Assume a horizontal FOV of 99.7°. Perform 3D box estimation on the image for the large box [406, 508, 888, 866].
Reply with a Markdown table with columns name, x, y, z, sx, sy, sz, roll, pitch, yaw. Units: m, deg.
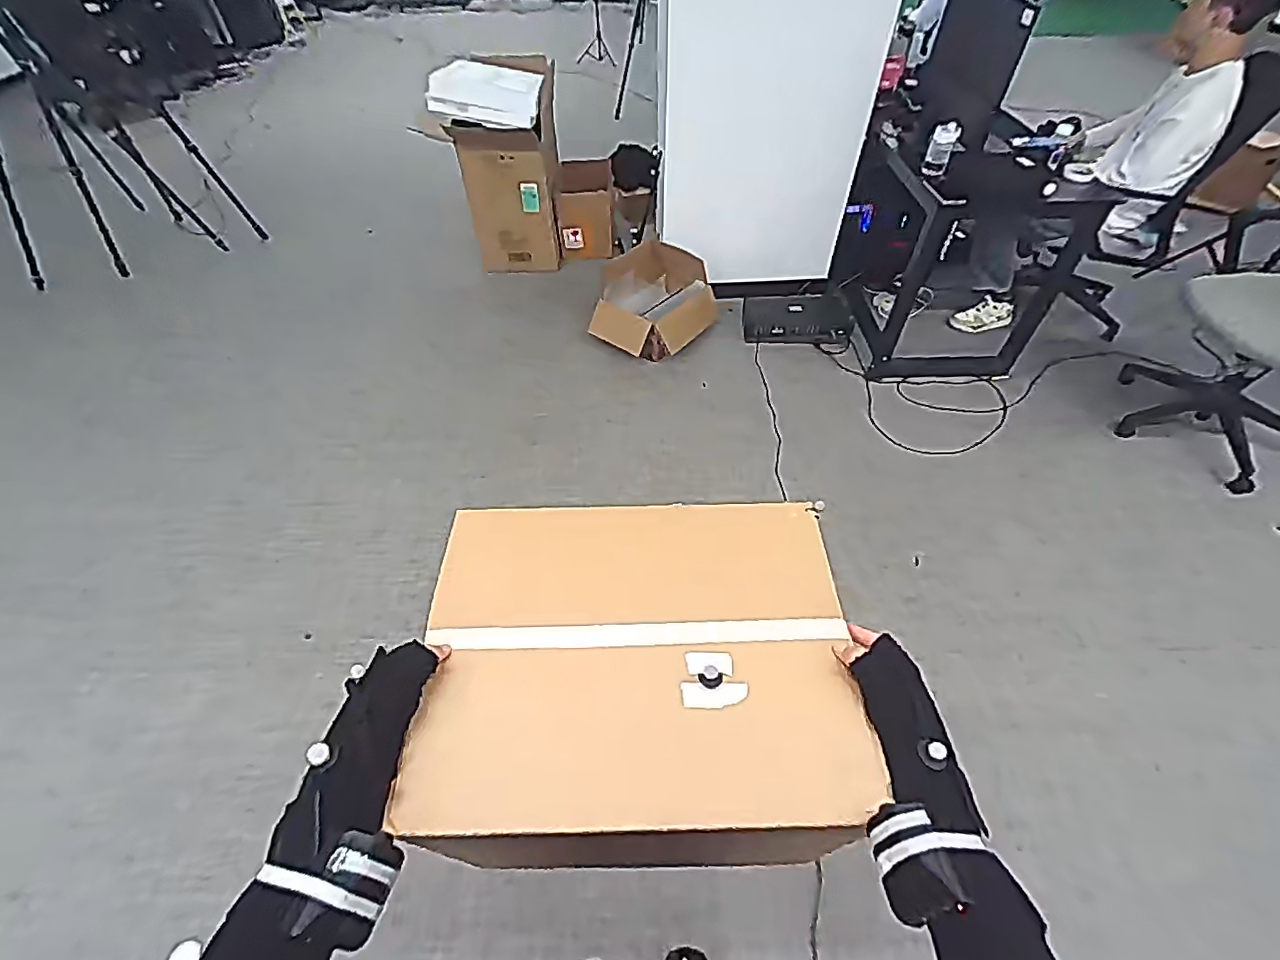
| name | x | y | z | sx | sy | sz | roll | pitch | yaw |
| --- | --- | --- | --- | --- | --- | --- | --- | --- | --- |
| large box | 0.003 | 0.251 | 0.647 | 0.408 | 0.320 | 0.320 | -1 | 50 | 0 |
